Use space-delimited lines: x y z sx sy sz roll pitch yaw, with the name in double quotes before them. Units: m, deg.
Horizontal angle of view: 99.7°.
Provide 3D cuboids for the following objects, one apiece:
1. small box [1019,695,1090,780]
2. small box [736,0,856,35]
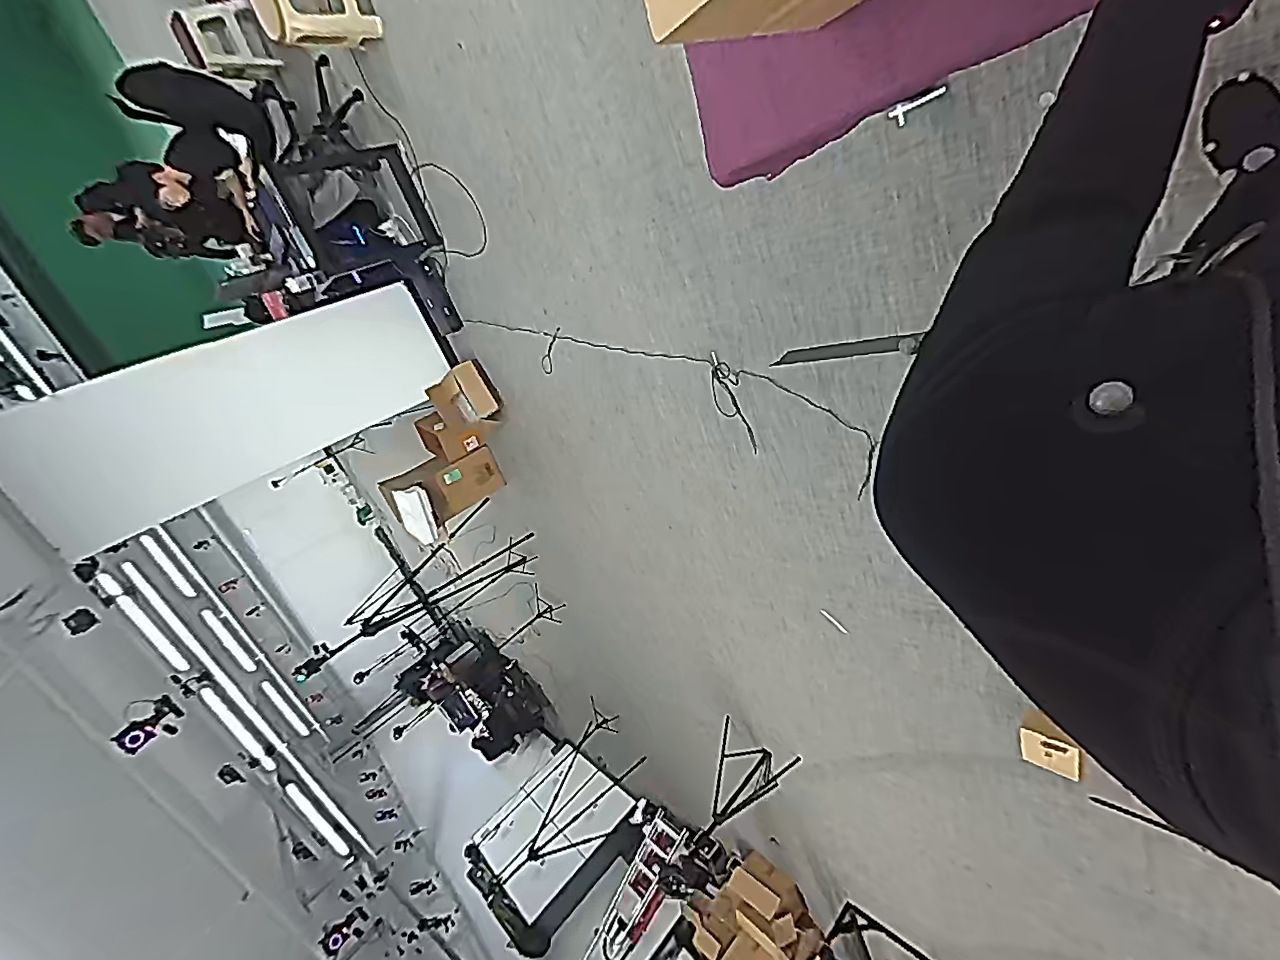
"small box" 1.452 0.892 1.895 0.168 0.176 0.179 10 129 49
"small box" 0.215 -0.661 0.625 0.179 0.176 0.168 8 126 50
